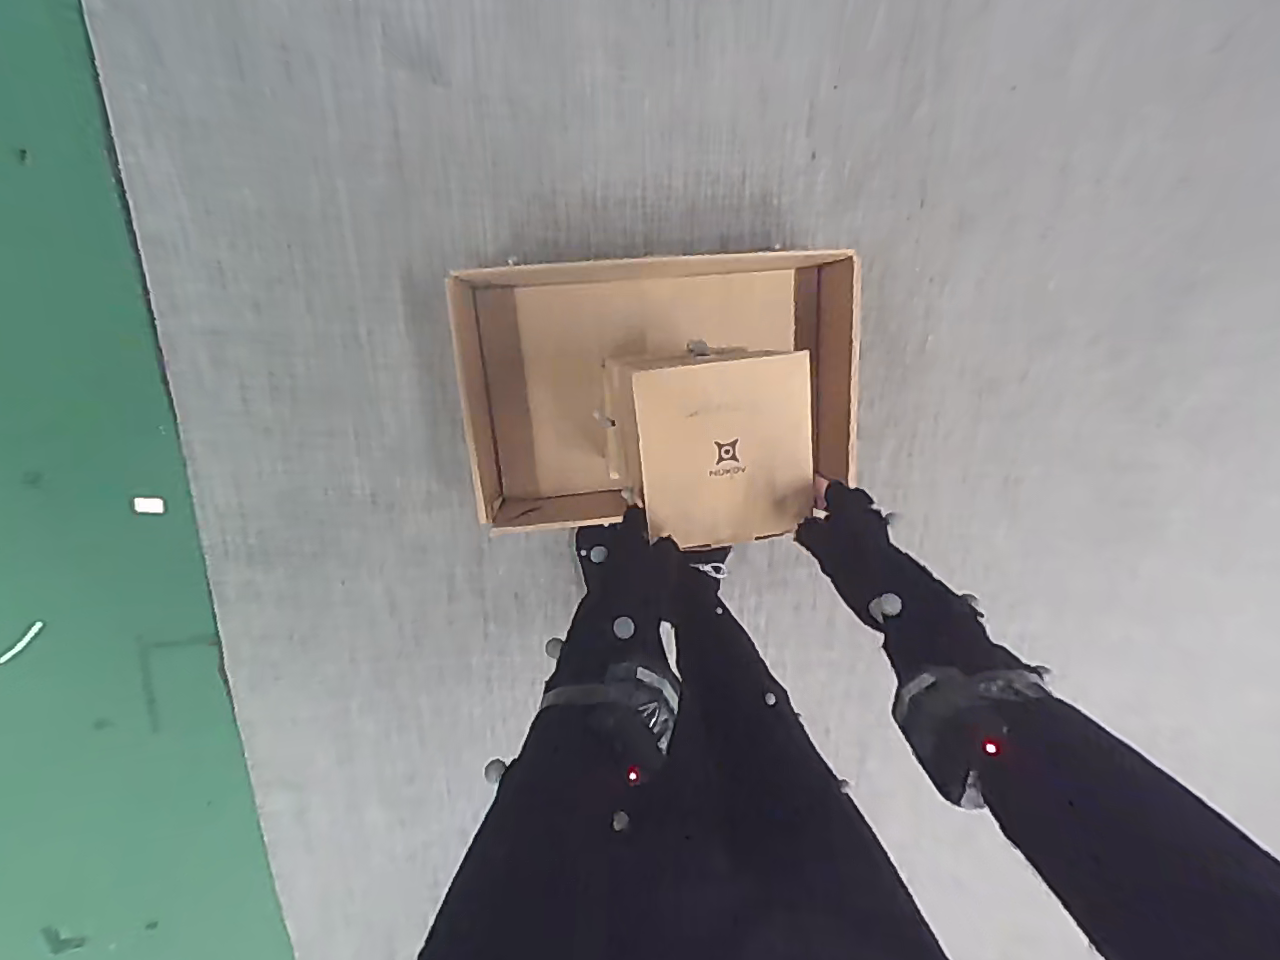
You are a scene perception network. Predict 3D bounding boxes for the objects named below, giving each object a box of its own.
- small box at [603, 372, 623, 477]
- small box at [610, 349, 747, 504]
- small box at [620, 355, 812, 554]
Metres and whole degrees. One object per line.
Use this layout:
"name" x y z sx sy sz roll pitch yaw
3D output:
"small box" 0.029 -0.106 0.917 0.179 0.176 0.168 -3 103 -4
"small box" 0.051 -0.081 0.741 0.168 0.176 0.179 -7 105 -5
"small box" 0.073 -0.039 0.585 0.168 0.176 0.179 -8 104 -6
